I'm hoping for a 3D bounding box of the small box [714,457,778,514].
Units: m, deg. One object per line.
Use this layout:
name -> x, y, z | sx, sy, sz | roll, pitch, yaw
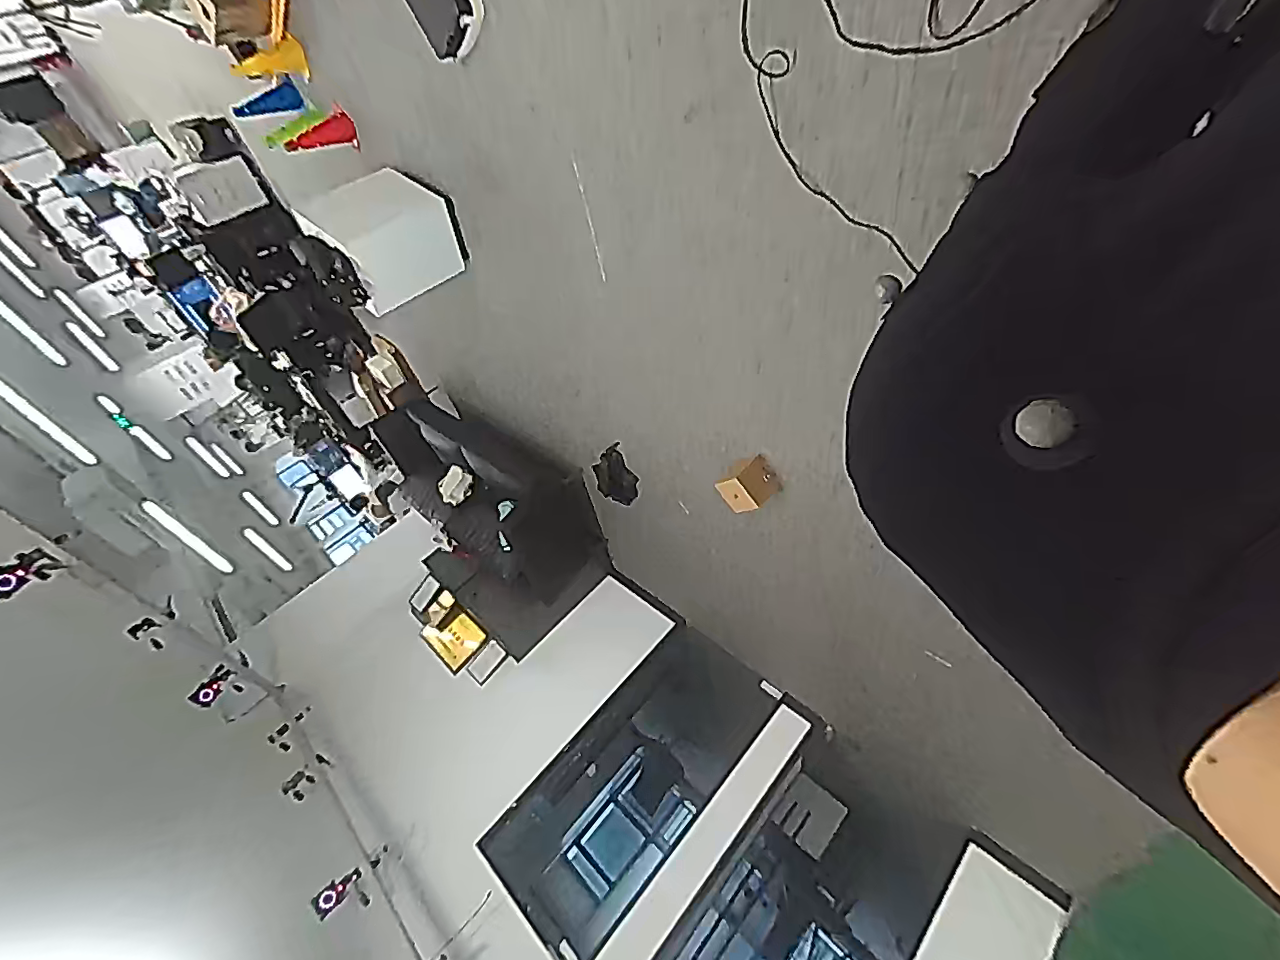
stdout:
small box -> 0.457, 0.025, 2.319 | 0.168, 0.176, 0.179 | 51, 155, -7
